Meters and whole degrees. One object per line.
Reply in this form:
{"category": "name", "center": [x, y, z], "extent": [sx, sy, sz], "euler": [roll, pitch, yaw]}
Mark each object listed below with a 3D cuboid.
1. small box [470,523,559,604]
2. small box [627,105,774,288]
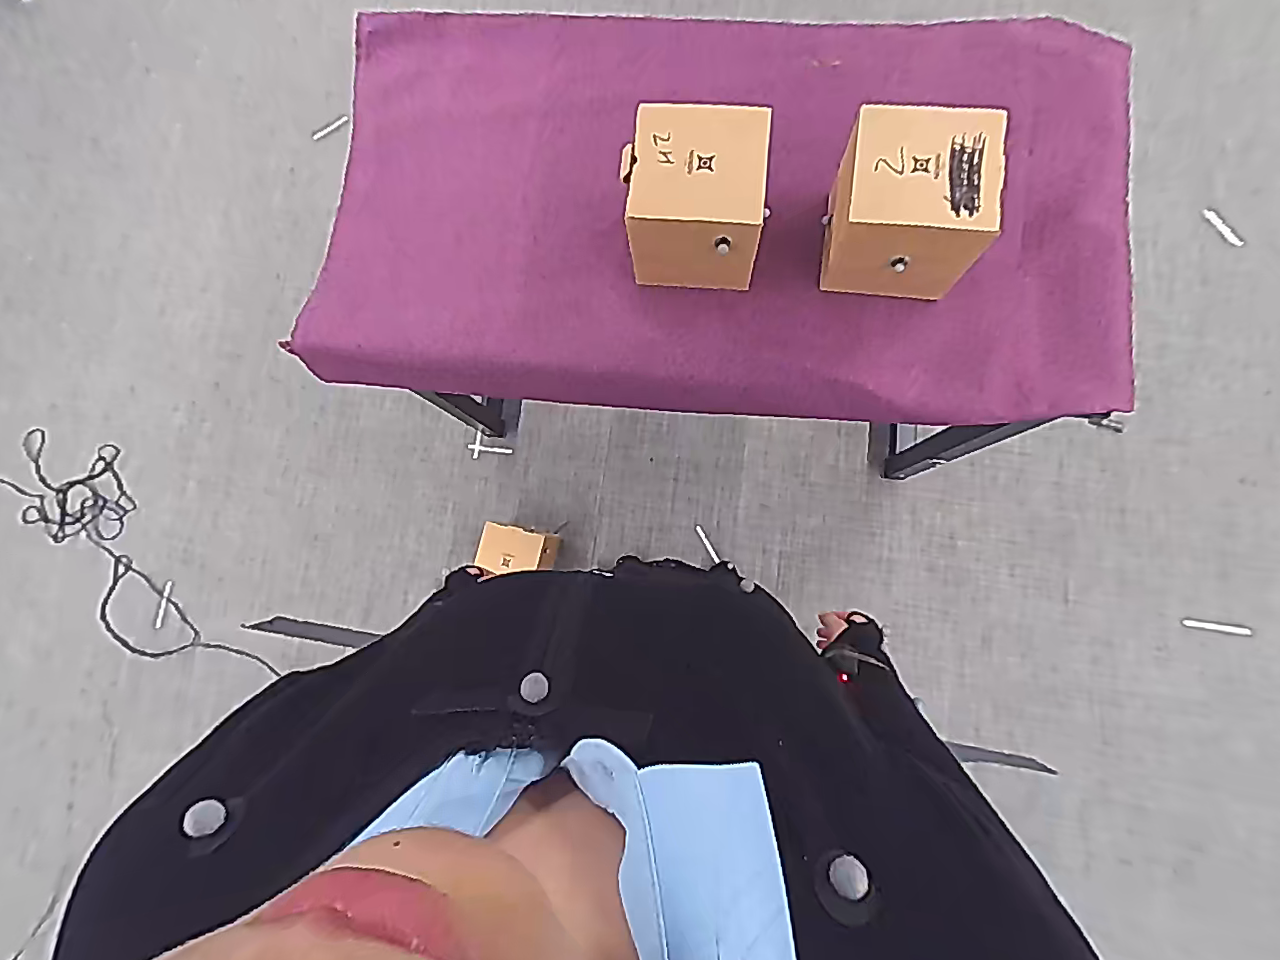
{"category": "small box", "center": [-0.330, 0.222, 1.456], "extent": [0.168, 0.176, 0.179], "euler": [13, 83, 7]}
{"category": "small box", "center": [0.084, -0.389, 0.767], "extent": [0.179, 0.176, 0.168], "euler": [5, 81, 6]}
